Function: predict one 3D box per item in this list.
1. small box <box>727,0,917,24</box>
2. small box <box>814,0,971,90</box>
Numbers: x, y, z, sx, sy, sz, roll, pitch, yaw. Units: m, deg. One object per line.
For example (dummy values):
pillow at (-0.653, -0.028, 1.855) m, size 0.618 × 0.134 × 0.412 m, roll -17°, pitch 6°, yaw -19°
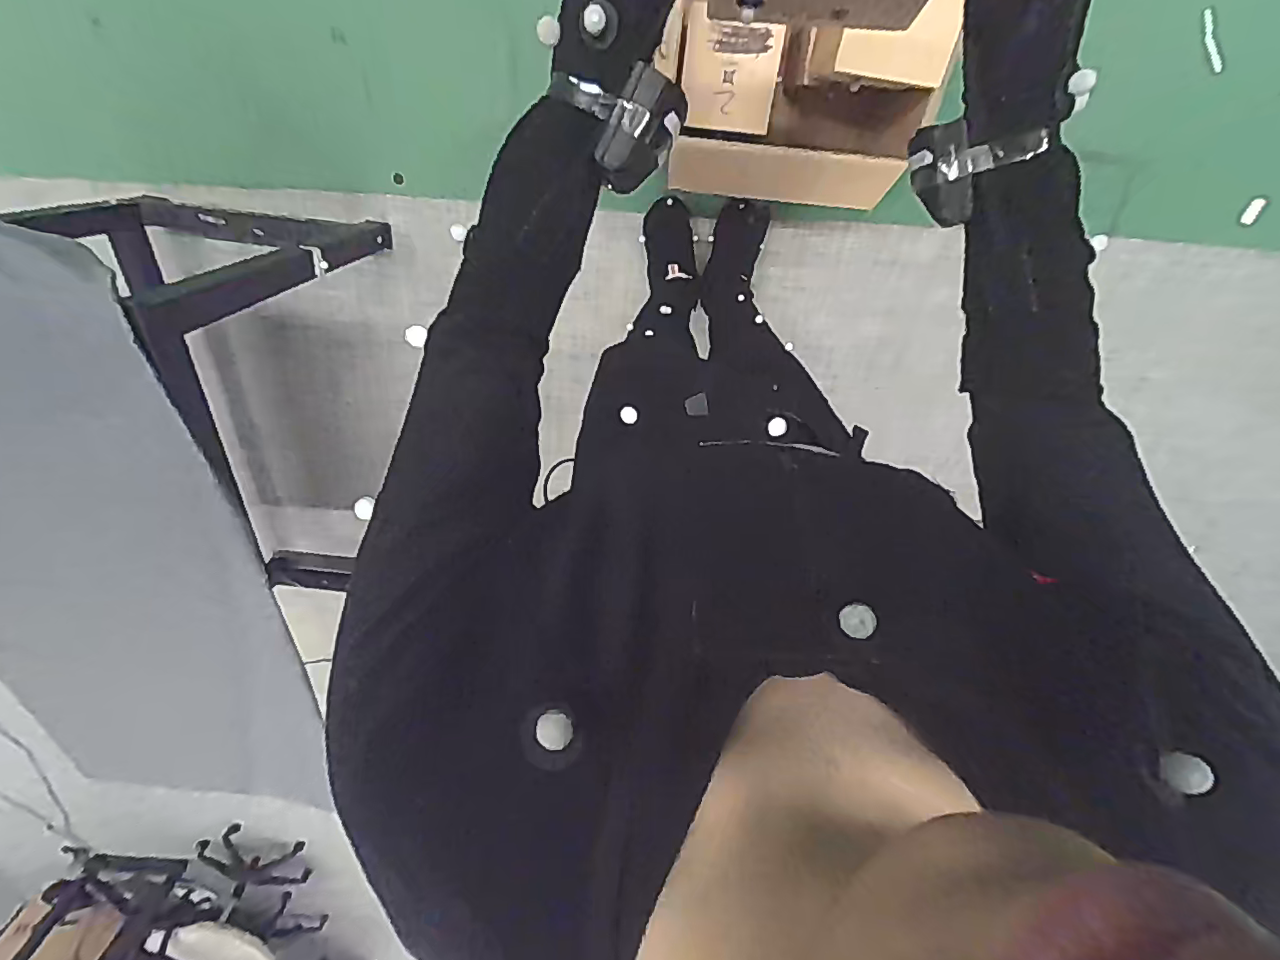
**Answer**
small box at (0.136, -0.434, 0.342) m, size 0.168 × 0.176 × 0.179 m, roll 6°, pitch 104°, yaw 3°
small box at (0.375, -0.703, 0.810) m, size 0.168 × 0.176 × 0.179 m, roll 7°, pitch 123°, yaw -3°
